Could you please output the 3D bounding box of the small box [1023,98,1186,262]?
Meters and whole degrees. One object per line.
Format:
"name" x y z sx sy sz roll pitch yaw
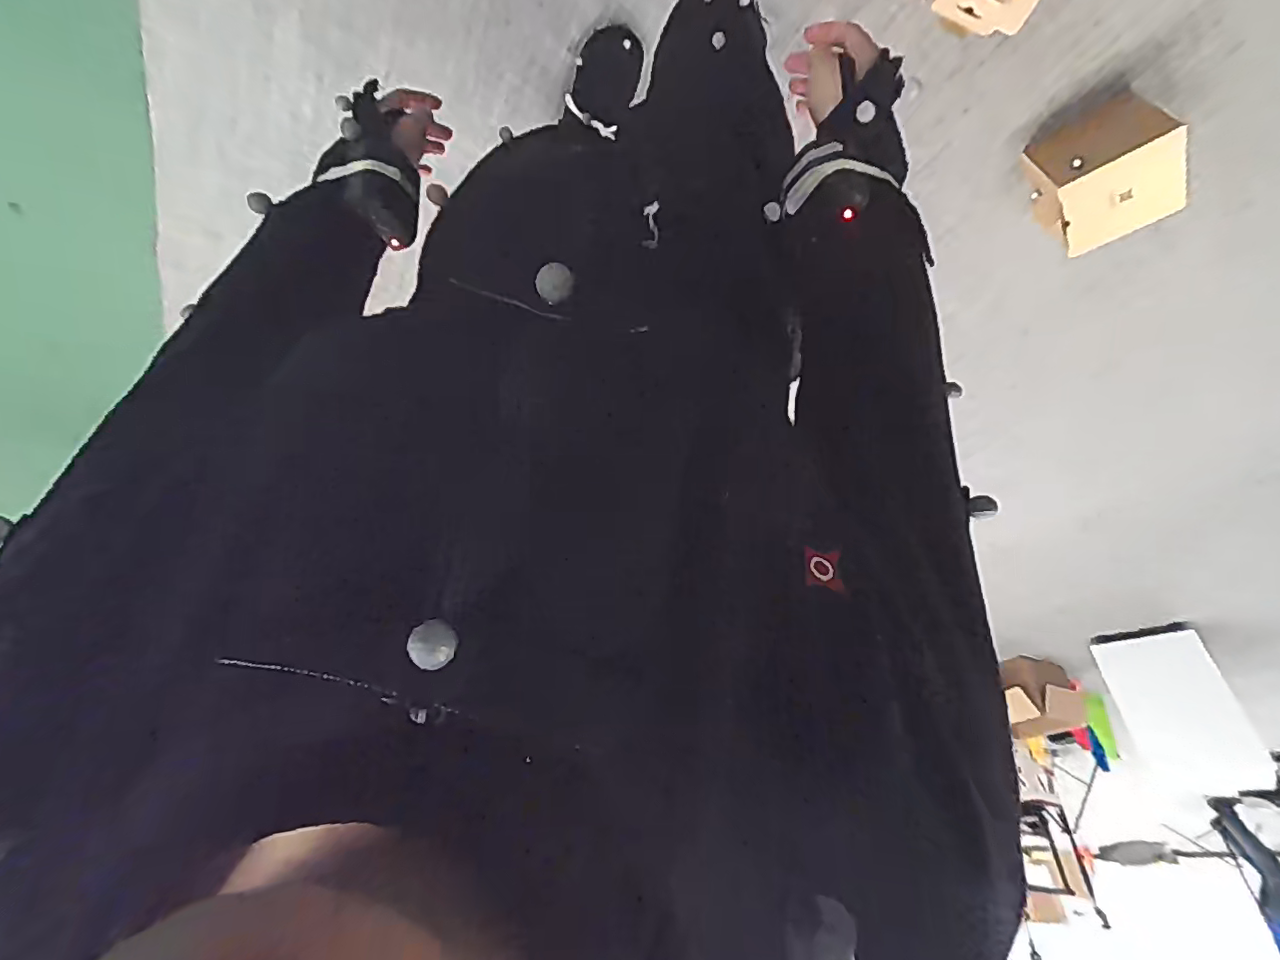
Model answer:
"small box" 0.850 -0.554 0.999 0.179 0.176 0.168 -23 135 31
